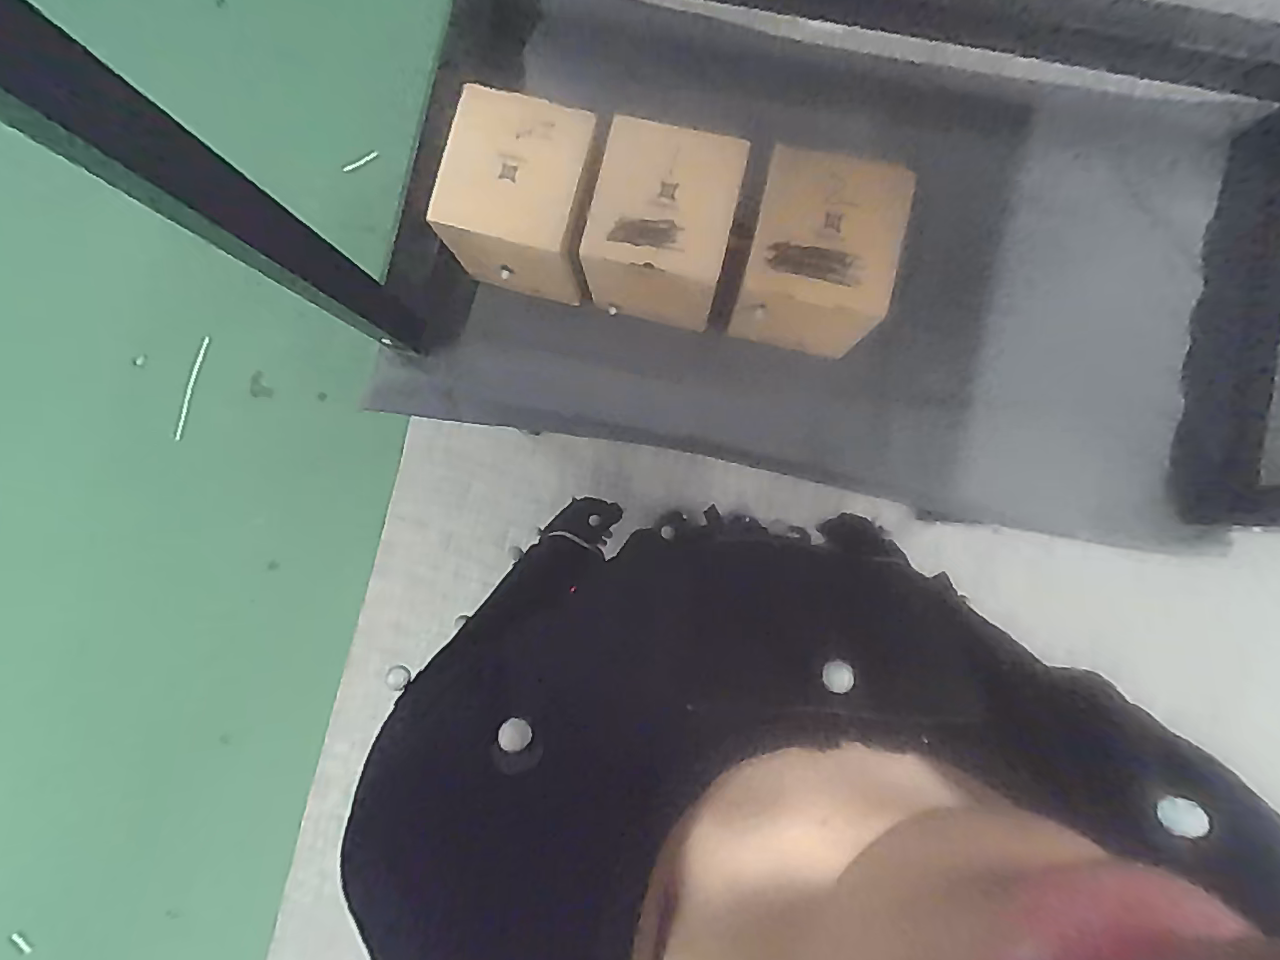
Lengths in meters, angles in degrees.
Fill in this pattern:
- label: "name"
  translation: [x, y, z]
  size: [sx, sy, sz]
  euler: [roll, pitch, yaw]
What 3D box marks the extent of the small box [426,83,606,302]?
- label: "small box"
  translation: [-0.146, -0.356, 0.704]
  size: [0.168, 0.176, 0.179]
  euler: [16, 87, 2]
